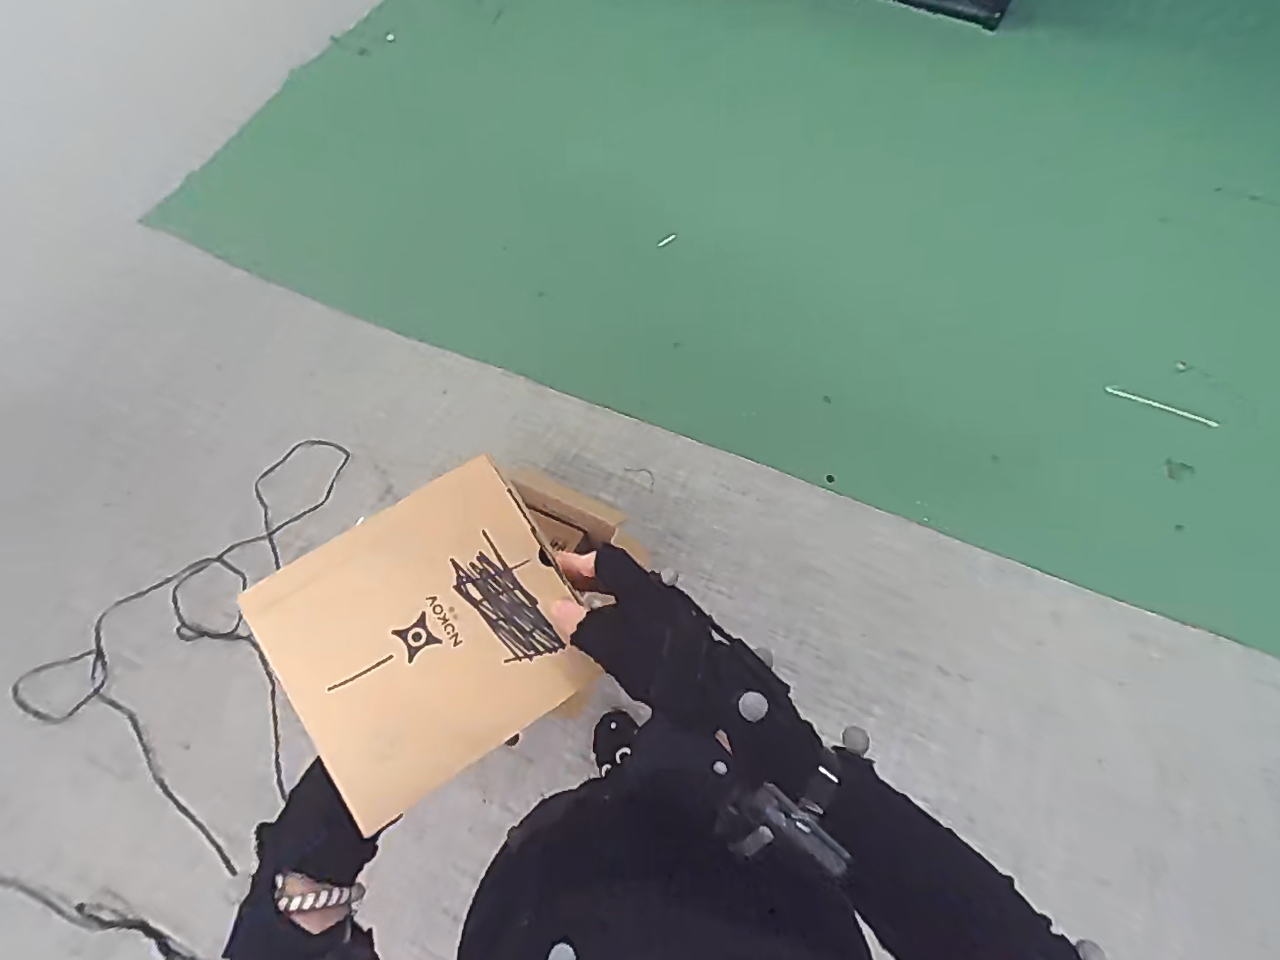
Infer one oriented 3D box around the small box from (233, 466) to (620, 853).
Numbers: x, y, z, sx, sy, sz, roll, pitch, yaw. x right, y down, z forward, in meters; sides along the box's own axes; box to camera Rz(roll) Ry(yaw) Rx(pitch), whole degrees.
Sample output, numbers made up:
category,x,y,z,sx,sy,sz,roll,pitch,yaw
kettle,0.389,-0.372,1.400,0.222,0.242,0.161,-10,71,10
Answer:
category,x,y,z,sx,sy,sz,roll,pitch,yaw
small box,-0.135,0.113,0.404,0.179,0.176,0.168,-31,84,-11
